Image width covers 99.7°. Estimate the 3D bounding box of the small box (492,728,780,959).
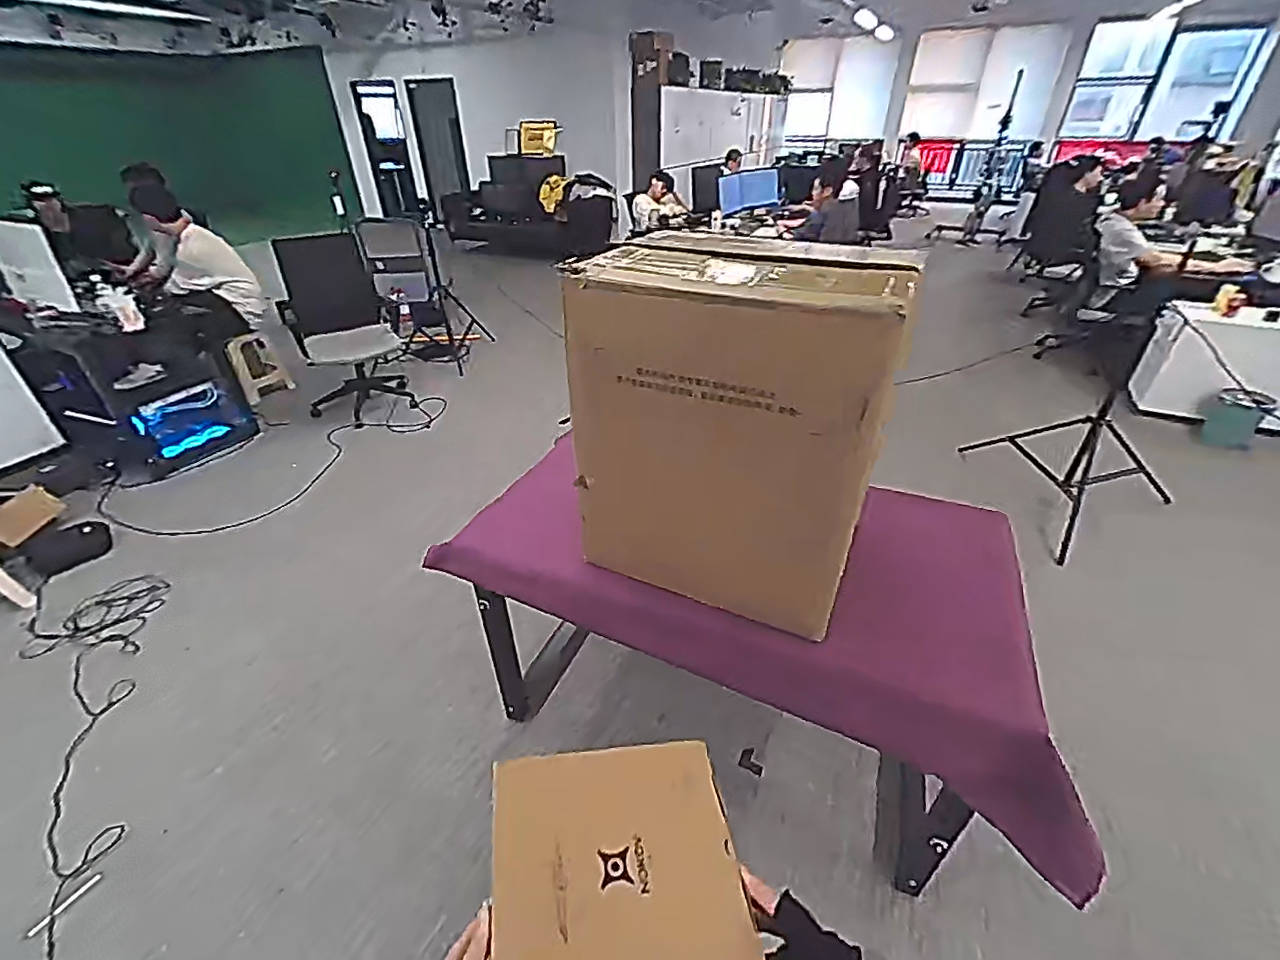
[{"bbox_3d":[-0.023,0.322,0.420,0.179,0.176,0.168,0,37,-15],"label":"small box"}]
